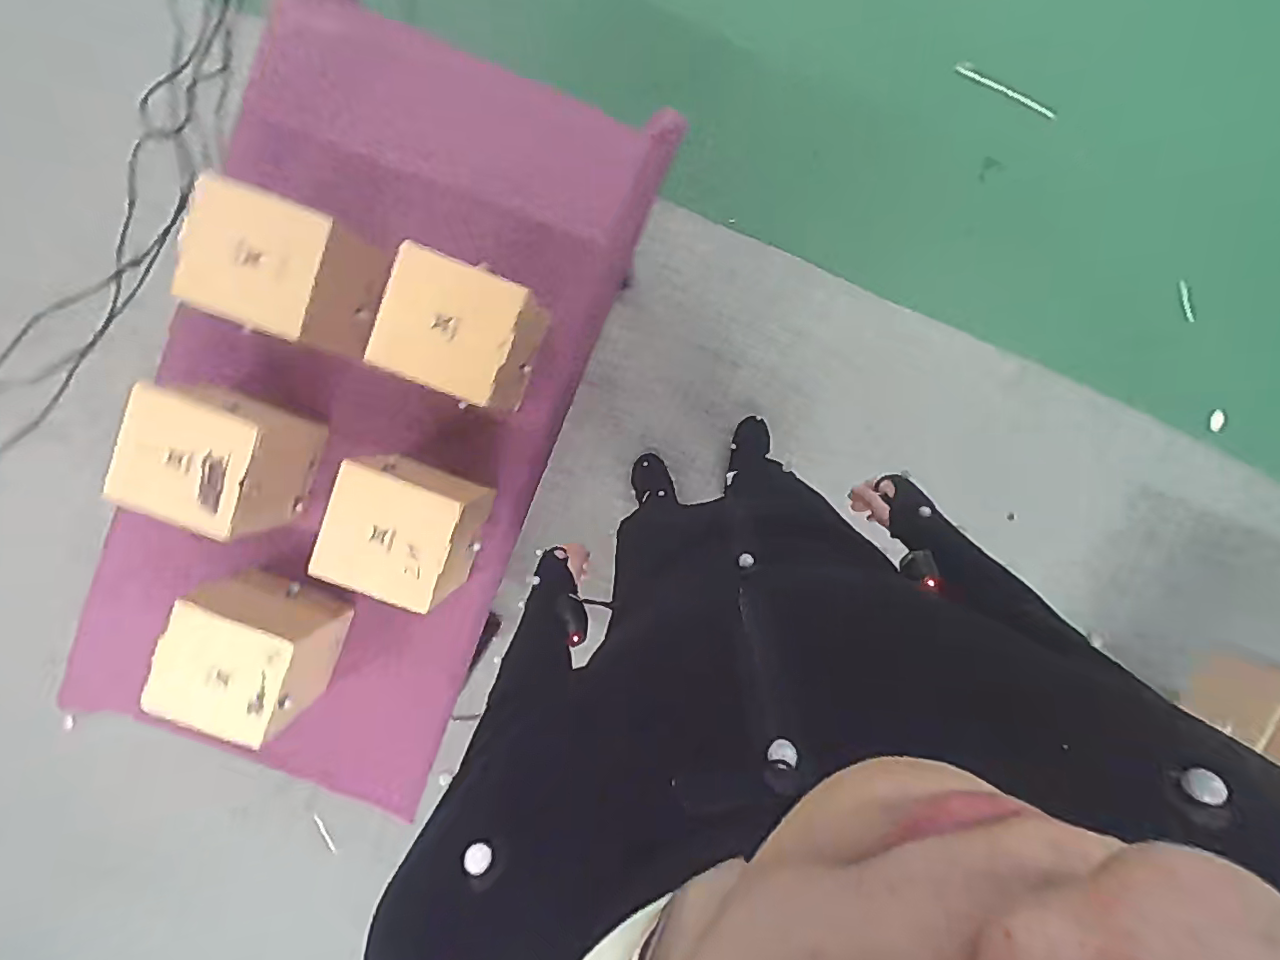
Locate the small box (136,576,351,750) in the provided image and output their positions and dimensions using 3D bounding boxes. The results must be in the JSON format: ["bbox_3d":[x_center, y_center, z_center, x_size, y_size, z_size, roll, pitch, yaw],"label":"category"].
[{"bbox_3d":[-0.584,0.261,0.820,0.179,0.176,0.168,22,96,-3],"label":"small box"}]

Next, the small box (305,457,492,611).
[{"bbox_3d":[-0.346,0.069,0.807,0.179,0.176,0.168,20,95,-2],"label":"small box"}]

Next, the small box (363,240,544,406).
[{"bbox_3d":[-0.257,-0.212,0.785,0.179,0.176,0.168,21,94,-3],"label":"small box"}]

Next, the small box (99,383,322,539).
[{"bbox_3d":[-0.611,-0.033,0.794,0.179,0.176,0.168,20,95,-3],"label":"small box"}]

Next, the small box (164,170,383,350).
[{"bbox_3d":[-0.506,-0.297,0.773,0.179,0.176,0.168,20,96,-4],"label":"small box"}]
